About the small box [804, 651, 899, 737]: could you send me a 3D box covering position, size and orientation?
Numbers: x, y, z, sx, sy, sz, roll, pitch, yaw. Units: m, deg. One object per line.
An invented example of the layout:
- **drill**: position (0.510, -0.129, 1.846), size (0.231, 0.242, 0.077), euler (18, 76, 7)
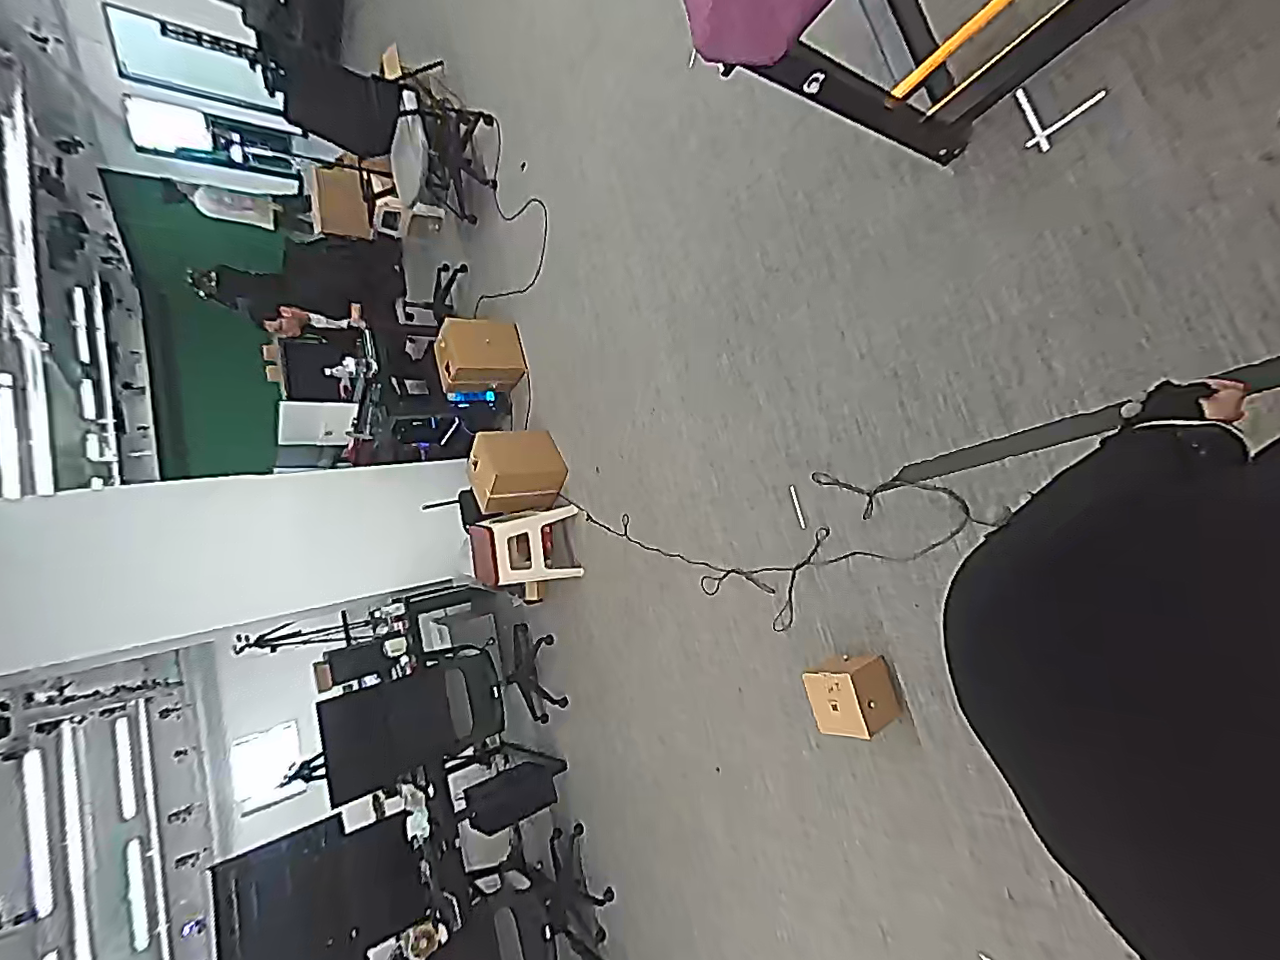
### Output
- **small box**: position (0.606, 0.603, 1.542), size (0.168, 0.176, 0.179), euler (-26, 77, 52)
